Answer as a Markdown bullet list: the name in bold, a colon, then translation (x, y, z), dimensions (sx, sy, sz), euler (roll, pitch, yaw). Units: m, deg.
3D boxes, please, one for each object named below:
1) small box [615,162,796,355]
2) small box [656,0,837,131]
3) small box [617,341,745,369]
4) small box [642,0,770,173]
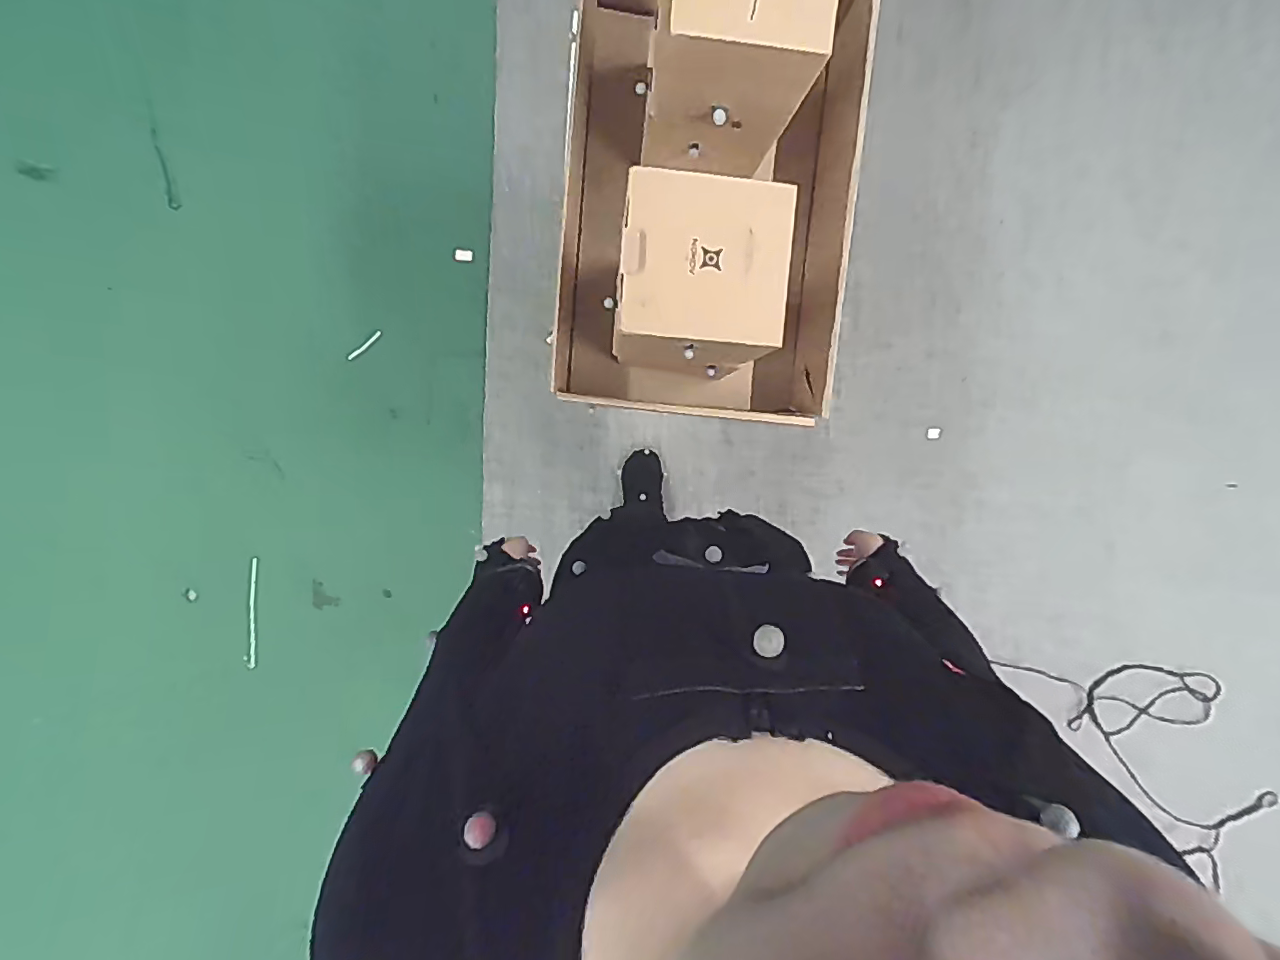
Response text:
- **small box**: translation (0.062, -0.242, 0.634), dimensions (0.179, 0.176, 0.168), euler (3, 97, -5)
- **small box**: translation (0.111, -0.530, 0.600), dimensions (0.168, 0.176, 0.179), euler (4, 98, -4)
- **small box**: translation (0.062, -0.263, 0.795), dimensions (0.179, 0.176, 0.168), euler (8, 95, -5)
- **small box**: translation (0.098, -0.555, 0.761), dimensions (0.179, 0.176, 0.168), euler (5, 98, -4)
